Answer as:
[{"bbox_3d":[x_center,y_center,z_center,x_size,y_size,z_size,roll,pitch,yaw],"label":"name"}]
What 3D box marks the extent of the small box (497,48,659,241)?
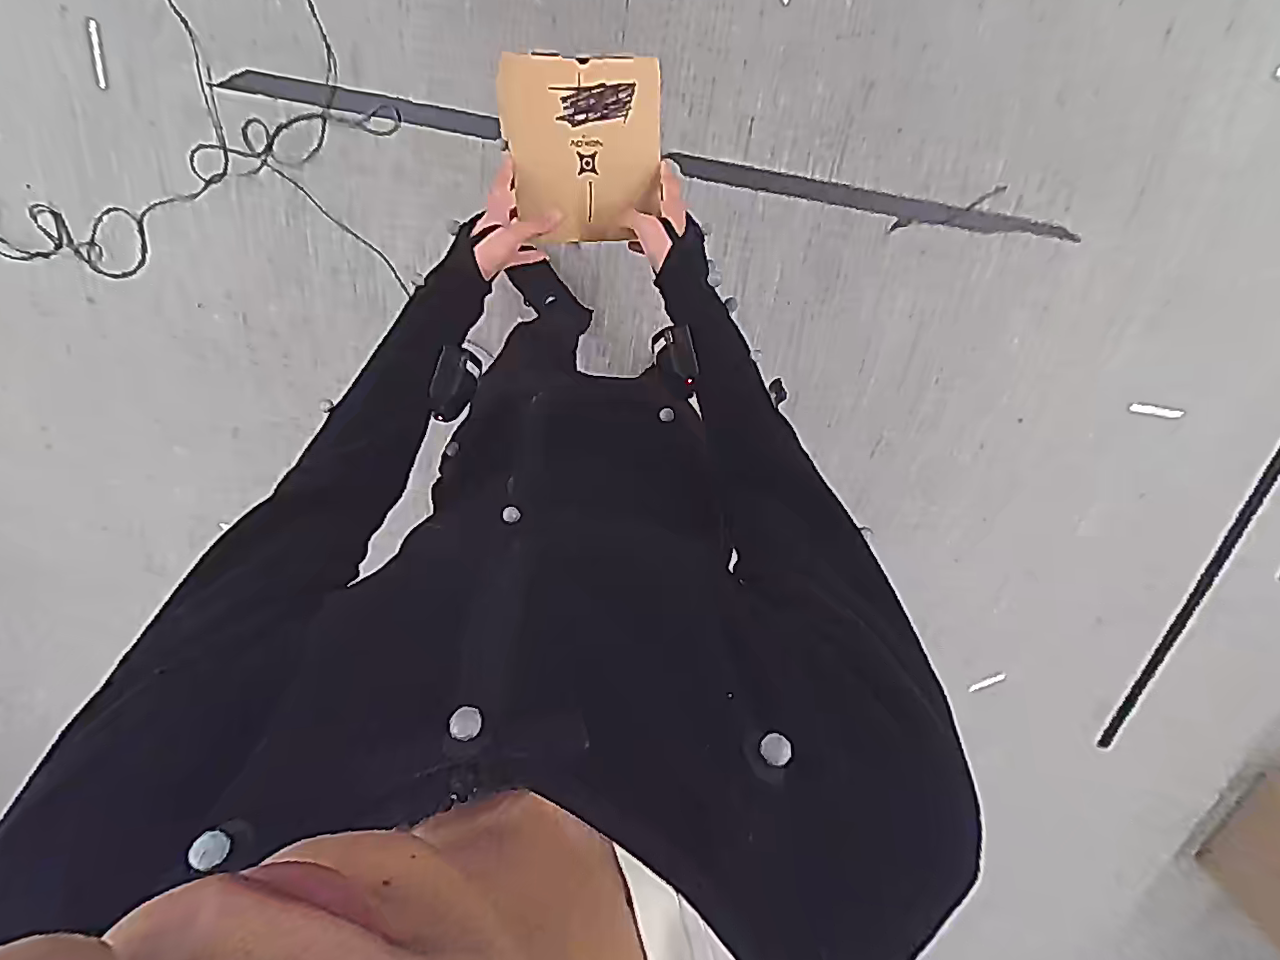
[{"bbox_3d":[-0.078,-0.387,0.651,0.168,0.176,0.179,-7,117,-12],"label":"small box"}]
